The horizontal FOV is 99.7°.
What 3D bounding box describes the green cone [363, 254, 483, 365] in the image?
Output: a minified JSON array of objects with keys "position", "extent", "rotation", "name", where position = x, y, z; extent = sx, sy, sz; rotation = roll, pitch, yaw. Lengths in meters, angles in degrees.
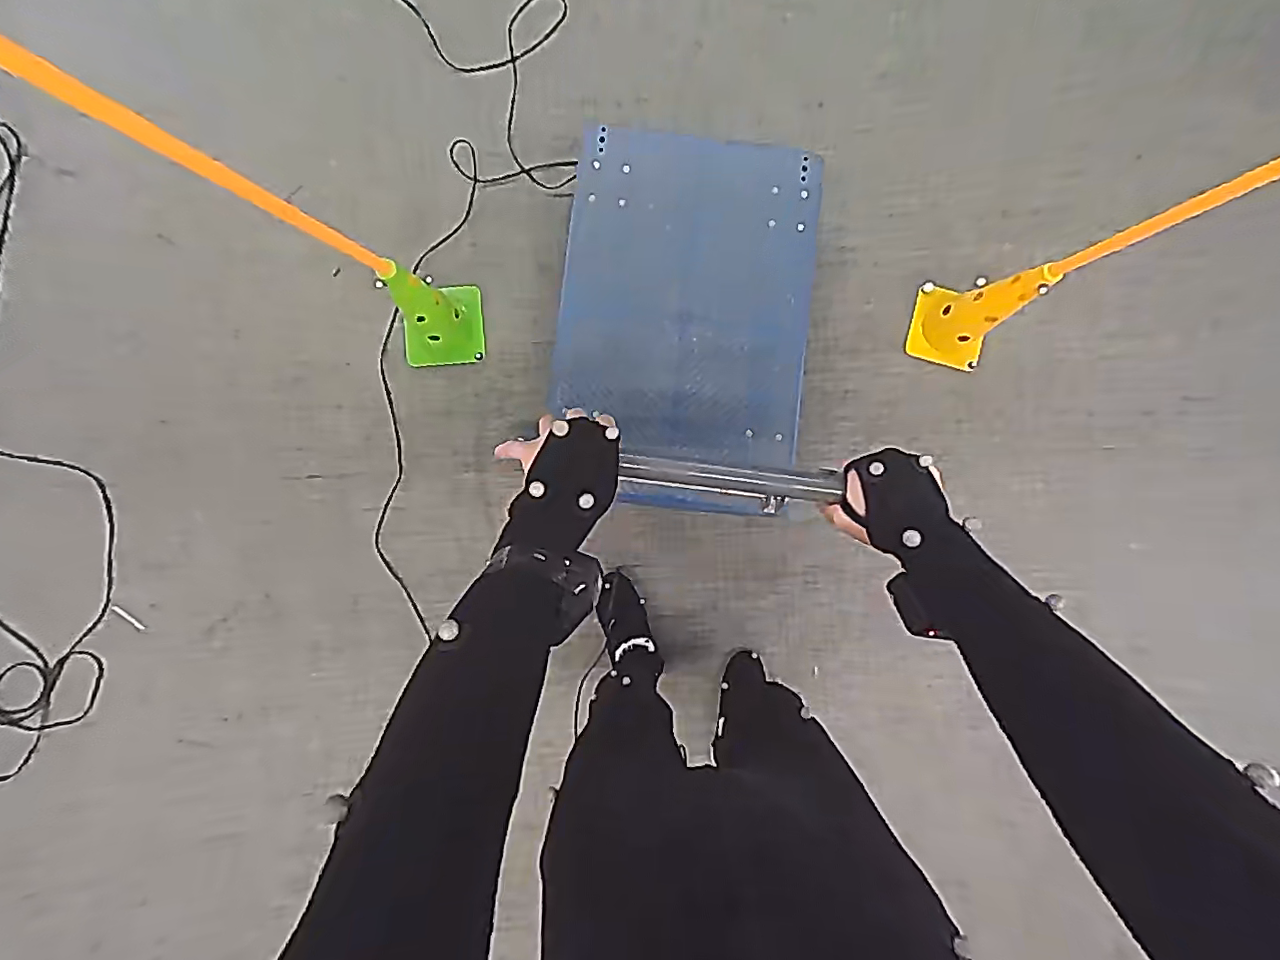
[{"position":[-0.504,-0.407,1.205],"extent":[0.202,0.368,0.200],"rotation":[-6,87,-1],"name":"green cone"}]
